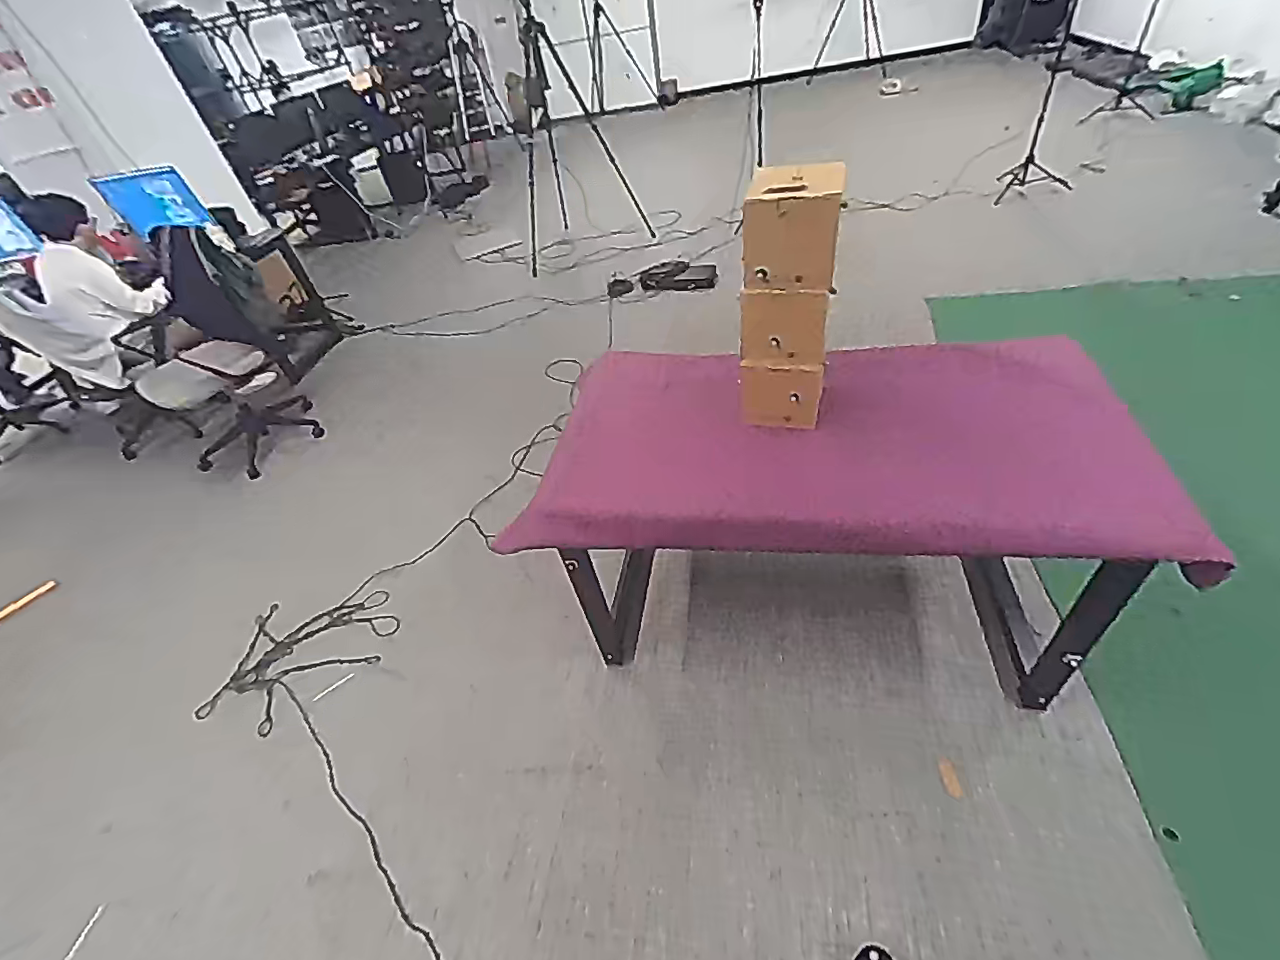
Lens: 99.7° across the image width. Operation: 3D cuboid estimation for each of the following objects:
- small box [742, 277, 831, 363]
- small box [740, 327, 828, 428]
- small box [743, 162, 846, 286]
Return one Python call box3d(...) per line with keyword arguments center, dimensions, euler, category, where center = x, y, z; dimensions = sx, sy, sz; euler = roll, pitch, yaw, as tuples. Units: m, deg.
box3d(center=(0.310, -0.363, 1.143), dimensions=(0.168, 0.176, 0.179), euler=(6, 47, 17), category="small box")
box3d(center=(0.332, -0.239, 1.245), dimensions=(0.168, 0.176, 0.179), euler=(8, 46, 20), category="small box")
box3d(center=(0.295, -0.484, 1.033), dimensions=(0.168, 0.176, 0.179), euler=(7, 46, 18), category="small box")
